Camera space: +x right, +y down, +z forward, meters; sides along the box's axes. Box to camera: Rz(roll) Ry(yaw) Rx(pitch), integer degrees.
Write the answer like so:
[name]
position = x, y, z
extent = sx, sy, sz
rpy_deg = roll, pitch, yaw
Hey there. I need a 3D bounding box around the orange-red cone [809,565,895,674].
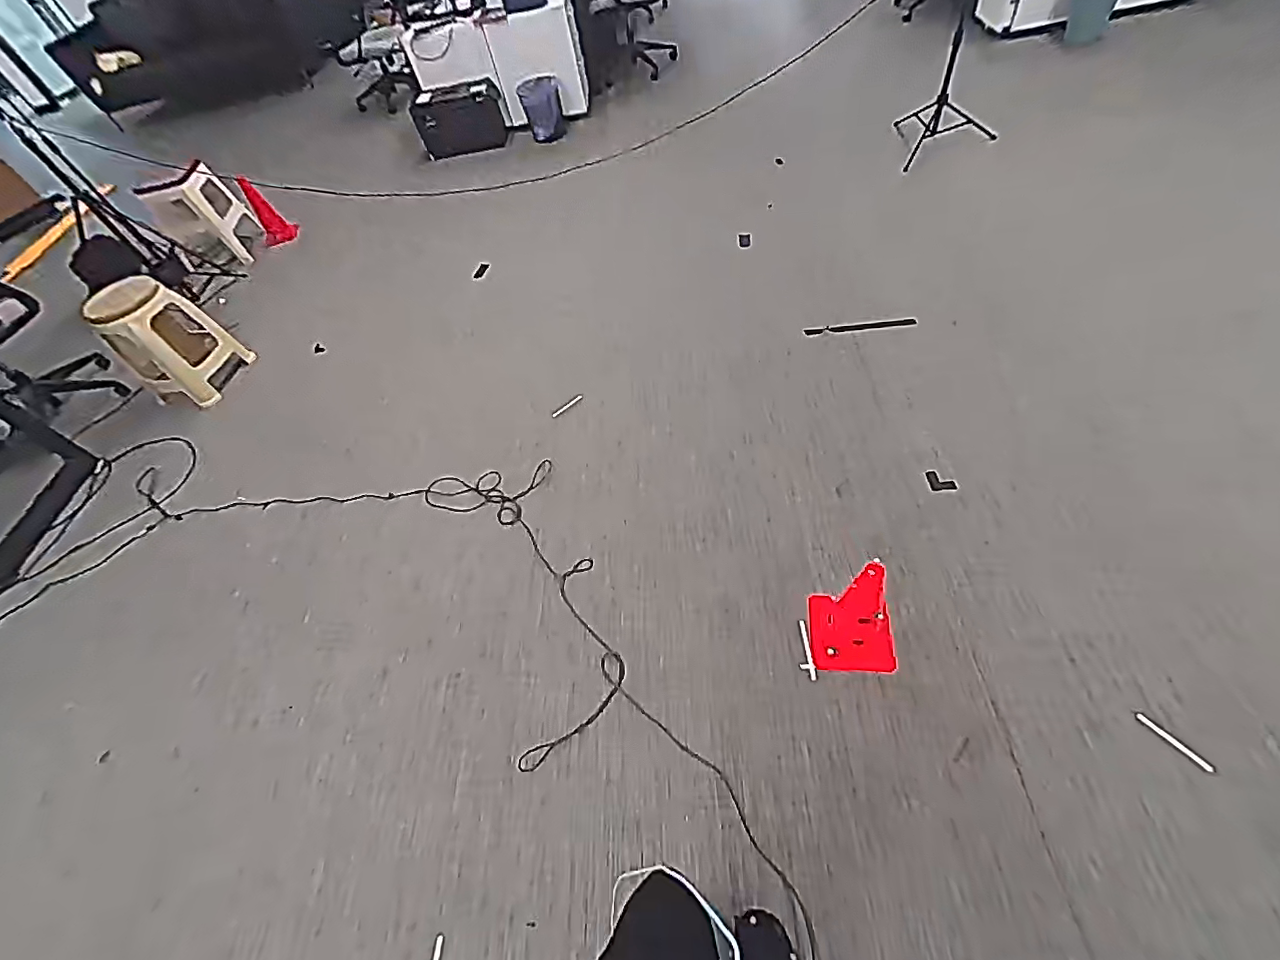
[orange-red cone]
position = 0.508, 0.289, 1.236
extent = 0.199, 0.360, 0.198
rpy_deg = 1, 55, 11
